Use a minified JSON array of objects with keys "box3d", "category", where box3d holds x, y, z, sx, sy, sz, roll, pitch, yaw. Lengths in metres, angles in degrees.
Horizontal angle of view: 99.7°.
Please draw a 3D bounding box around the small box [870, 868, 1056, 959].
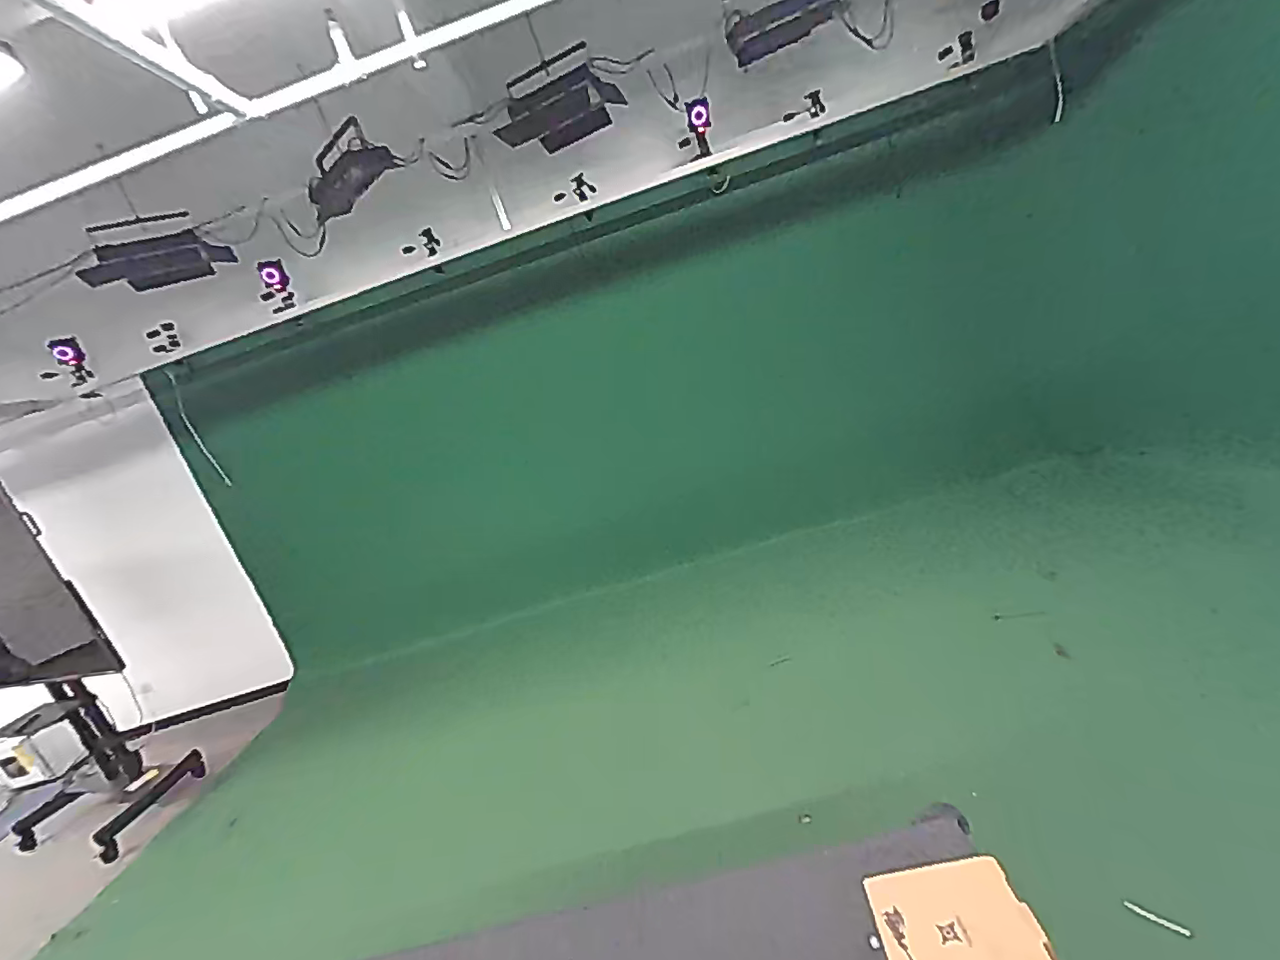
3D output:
[{"box3d":[0.410,0.629,0.664,0.179,0.176,0.168,-17,13,9],"category":"small box"}]
